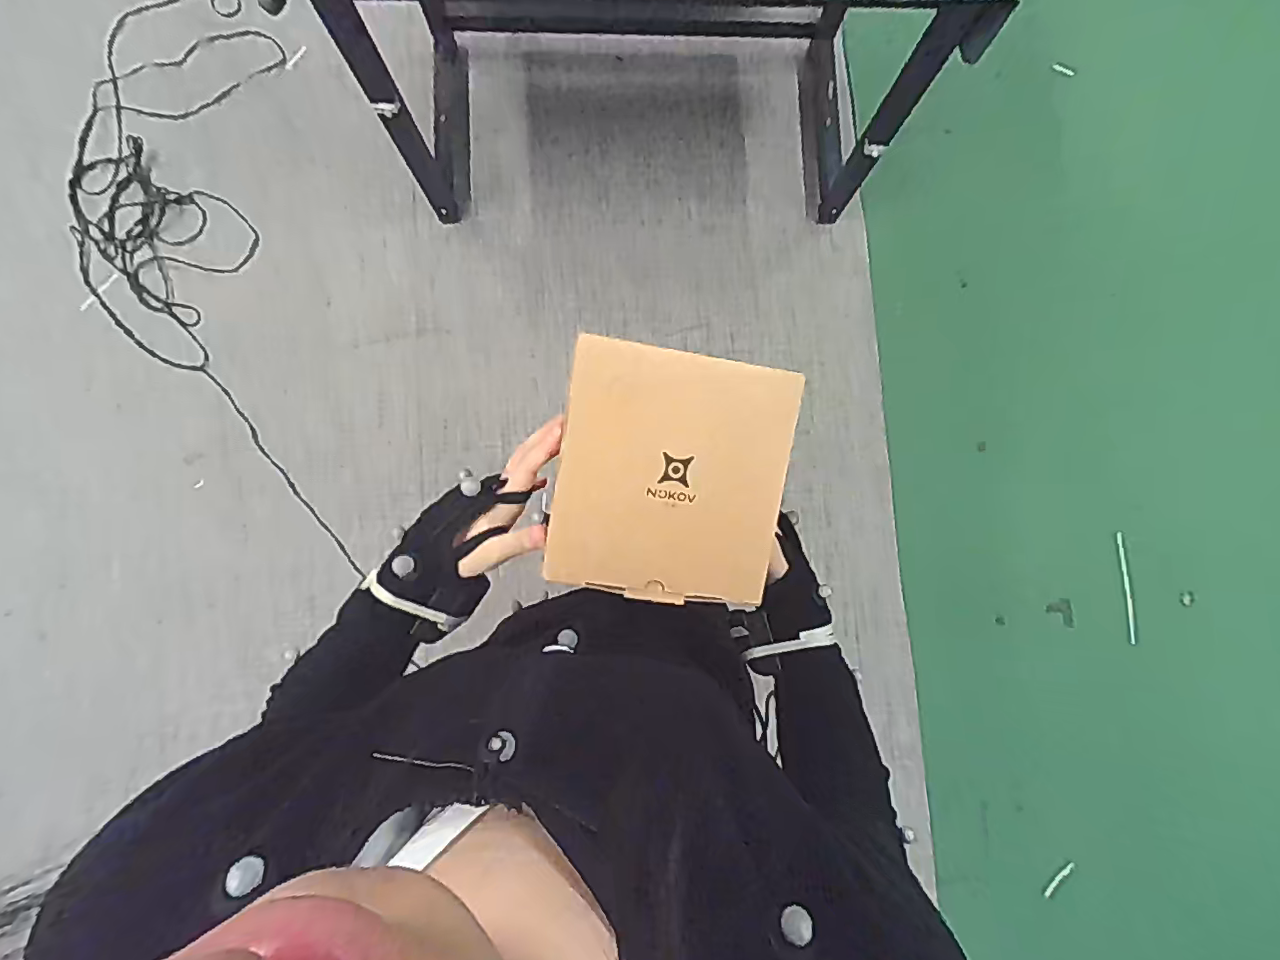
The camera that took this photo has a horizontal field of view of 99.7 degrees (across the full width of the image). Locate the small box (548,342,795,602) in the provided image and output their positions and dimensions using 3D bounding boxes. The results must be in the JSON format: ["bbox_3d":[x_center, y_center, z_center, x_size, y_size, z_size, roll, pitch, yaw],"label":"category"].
[{"bbox_3d":[0.012,-0.011,0.473,0.168,0.176,0.179,7,97,-9],"label":"small box"}]
